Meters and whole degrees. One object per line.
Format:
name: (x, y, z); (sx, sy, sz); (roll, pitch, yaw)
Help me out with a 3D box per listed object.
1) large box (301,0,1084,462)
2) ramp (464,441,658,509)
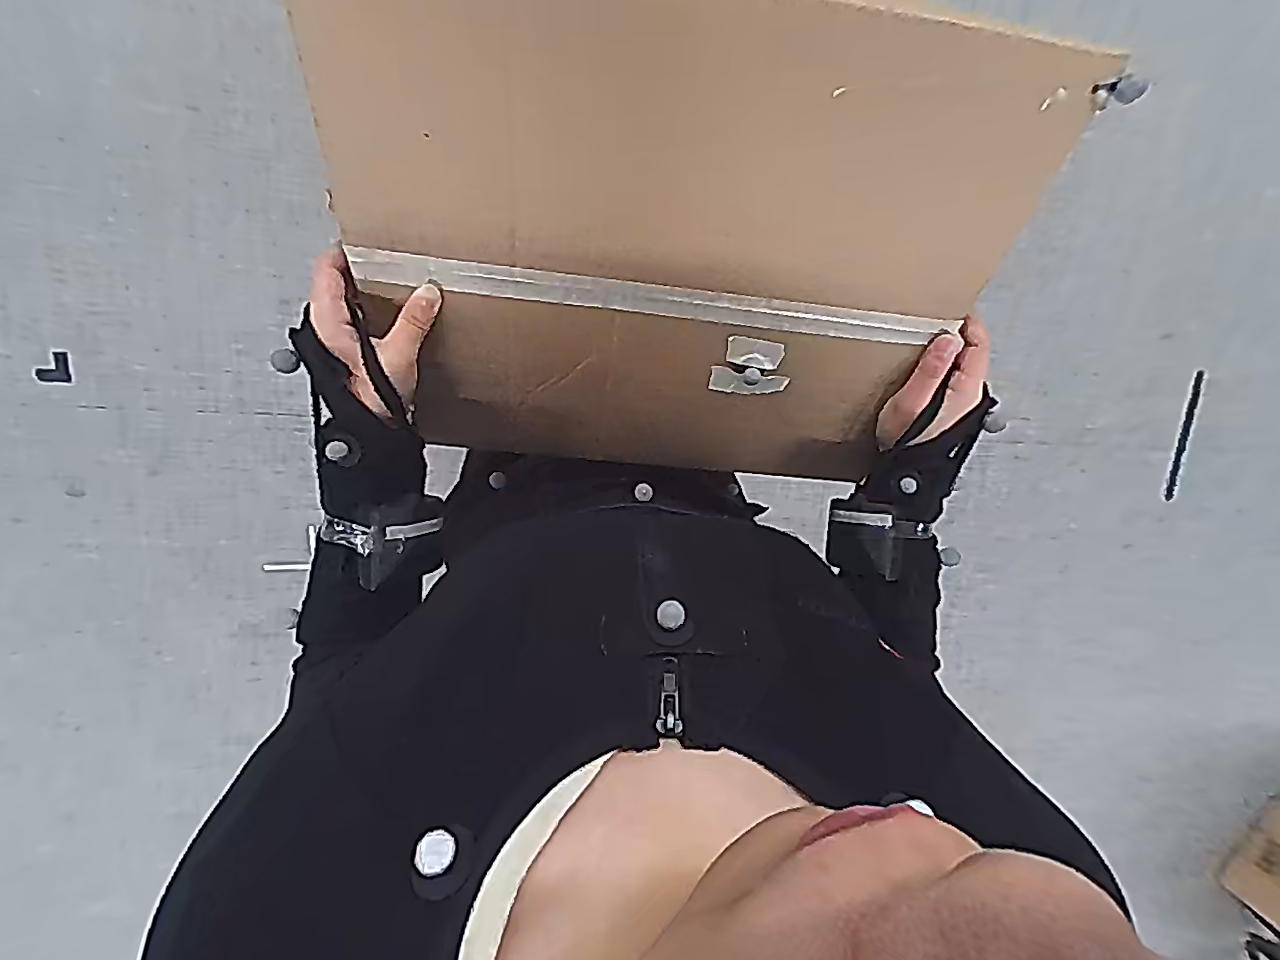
large box: (0.013, -0.238, 0.470); (0.408, 0.320, 0.320); (3, 138, -7)
ramp: (-0.166, -0.382, 1.240); (0.509, 0.206, 0.991); (0, 104, -9)
